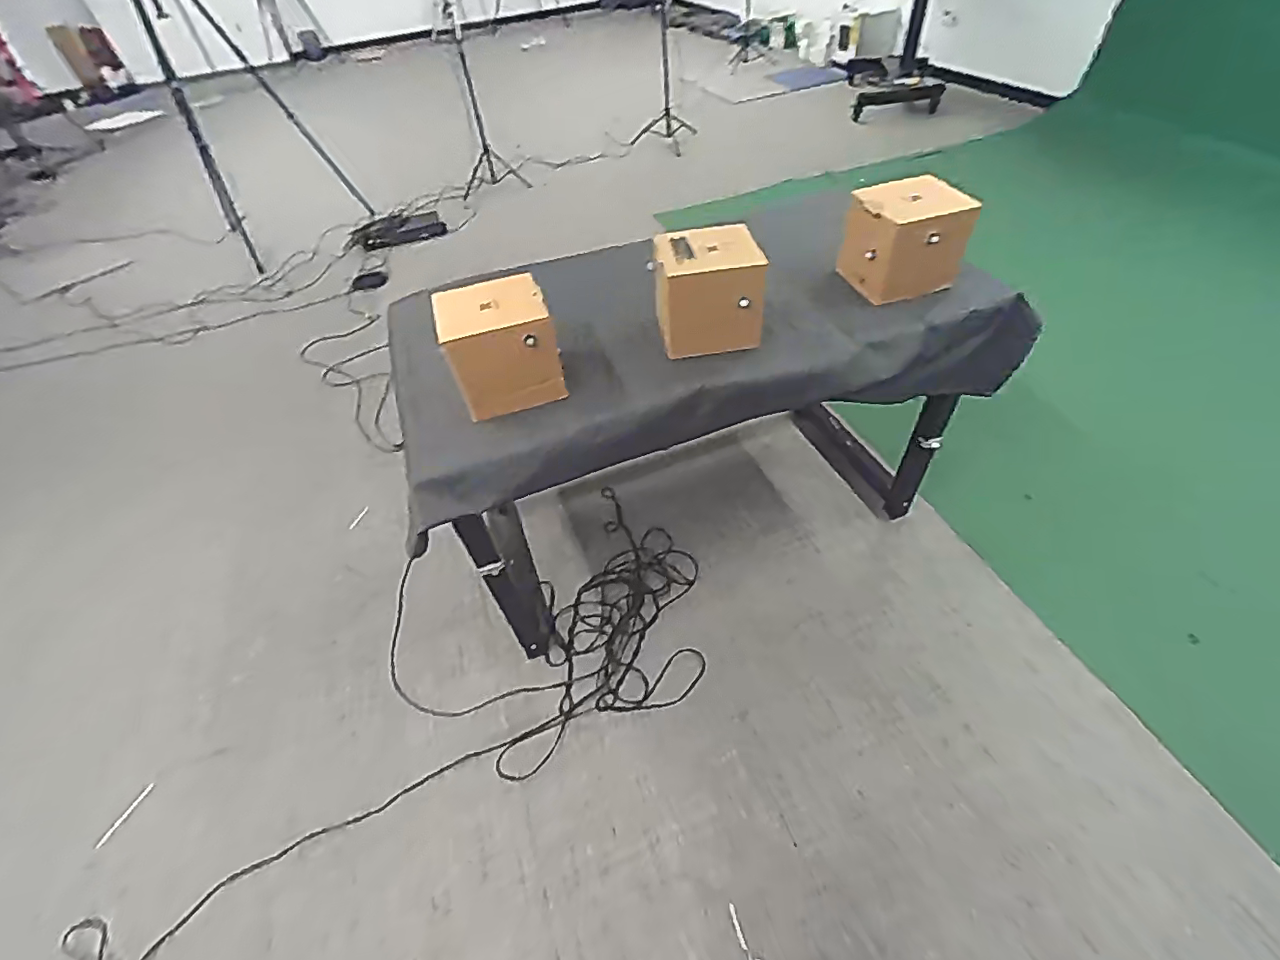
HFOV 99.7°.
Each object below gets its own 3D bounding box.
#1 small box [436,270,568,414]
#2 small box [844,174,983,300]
[{"bbox_3d":[-0.240,-0.240,0.953,0.179,0.176,0.168,-17,49,-10],"label":"small box"},{"bbox_3d":[0.529,-0.483,1.084,0.179,0.176,0.168,-14,50,-7],"label":"small box"}]
